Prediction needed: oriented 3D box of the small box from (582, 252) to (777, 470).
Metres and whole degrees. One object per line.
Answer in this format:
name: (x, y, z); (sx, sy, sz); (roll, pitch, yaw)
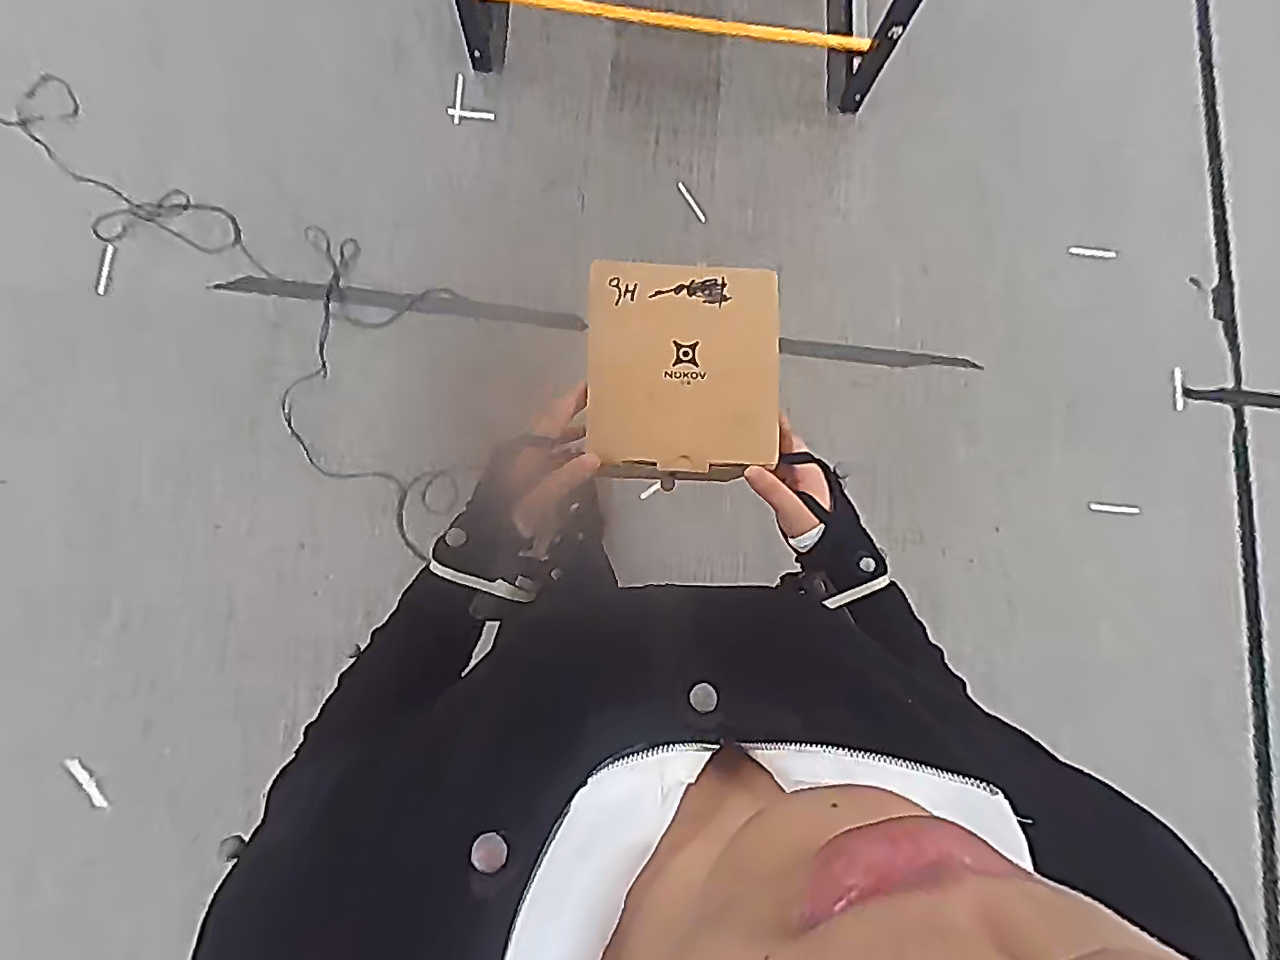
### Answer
small box: (0.030, -0.102, 0.540); (0.168, 0.176, 0.179); (1, 87, -4)
